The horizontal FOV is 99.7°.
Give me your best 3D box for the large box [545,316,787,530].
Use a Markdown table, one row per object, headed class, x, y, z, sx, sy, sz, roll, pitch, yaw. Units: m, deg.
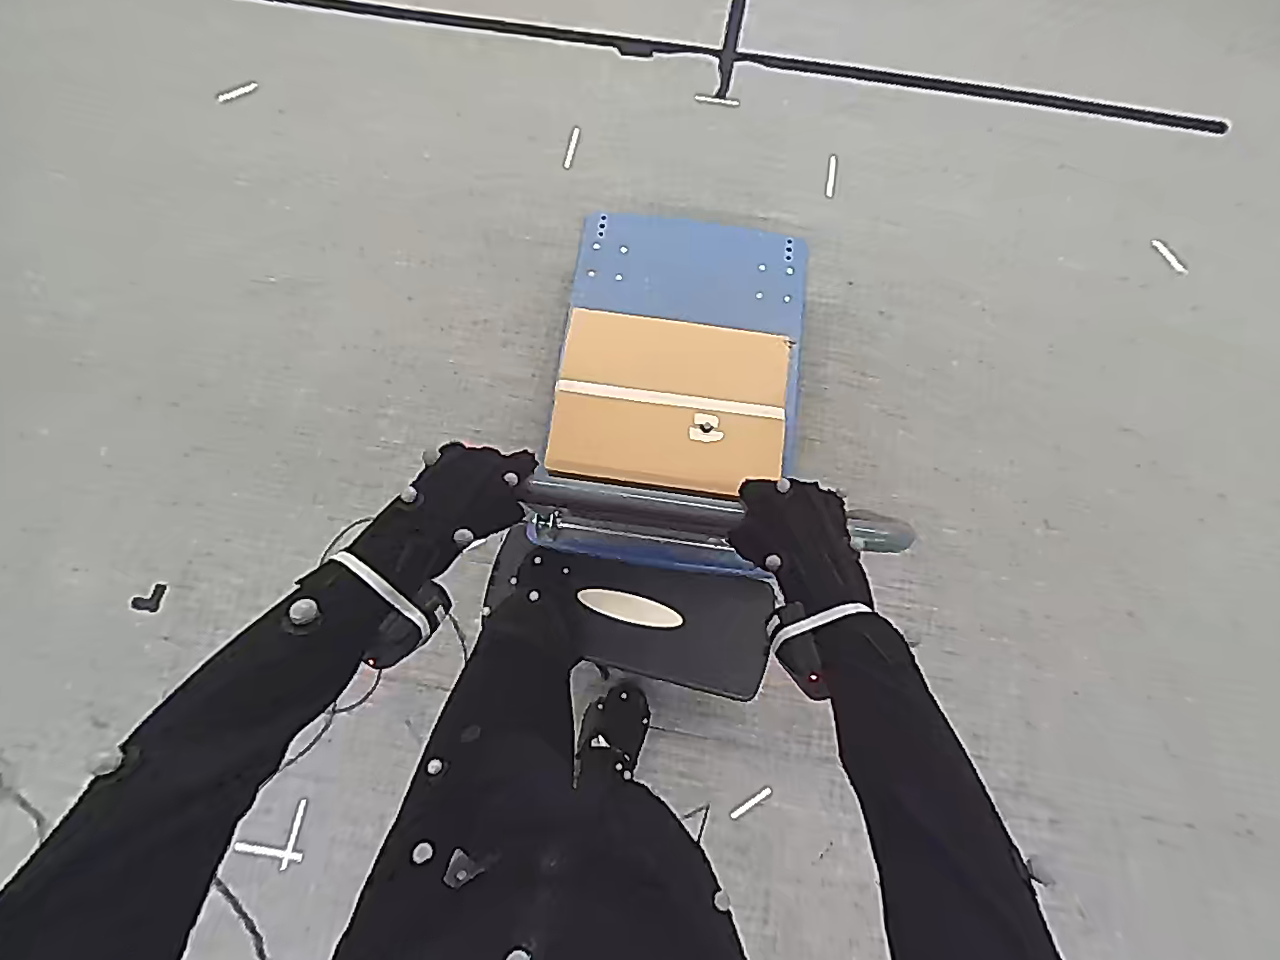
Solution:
| class | x | y | z | sx | sy | sz | roll | pitch | yaw |
| --- | --- | --- | --- | --- | --- | --- | --- | --- | --- |
| large box | 0.046 | -0.093 | 1.091 | 0.408 | 0.320 | 0.320 | 8 | 77 | 0 |
